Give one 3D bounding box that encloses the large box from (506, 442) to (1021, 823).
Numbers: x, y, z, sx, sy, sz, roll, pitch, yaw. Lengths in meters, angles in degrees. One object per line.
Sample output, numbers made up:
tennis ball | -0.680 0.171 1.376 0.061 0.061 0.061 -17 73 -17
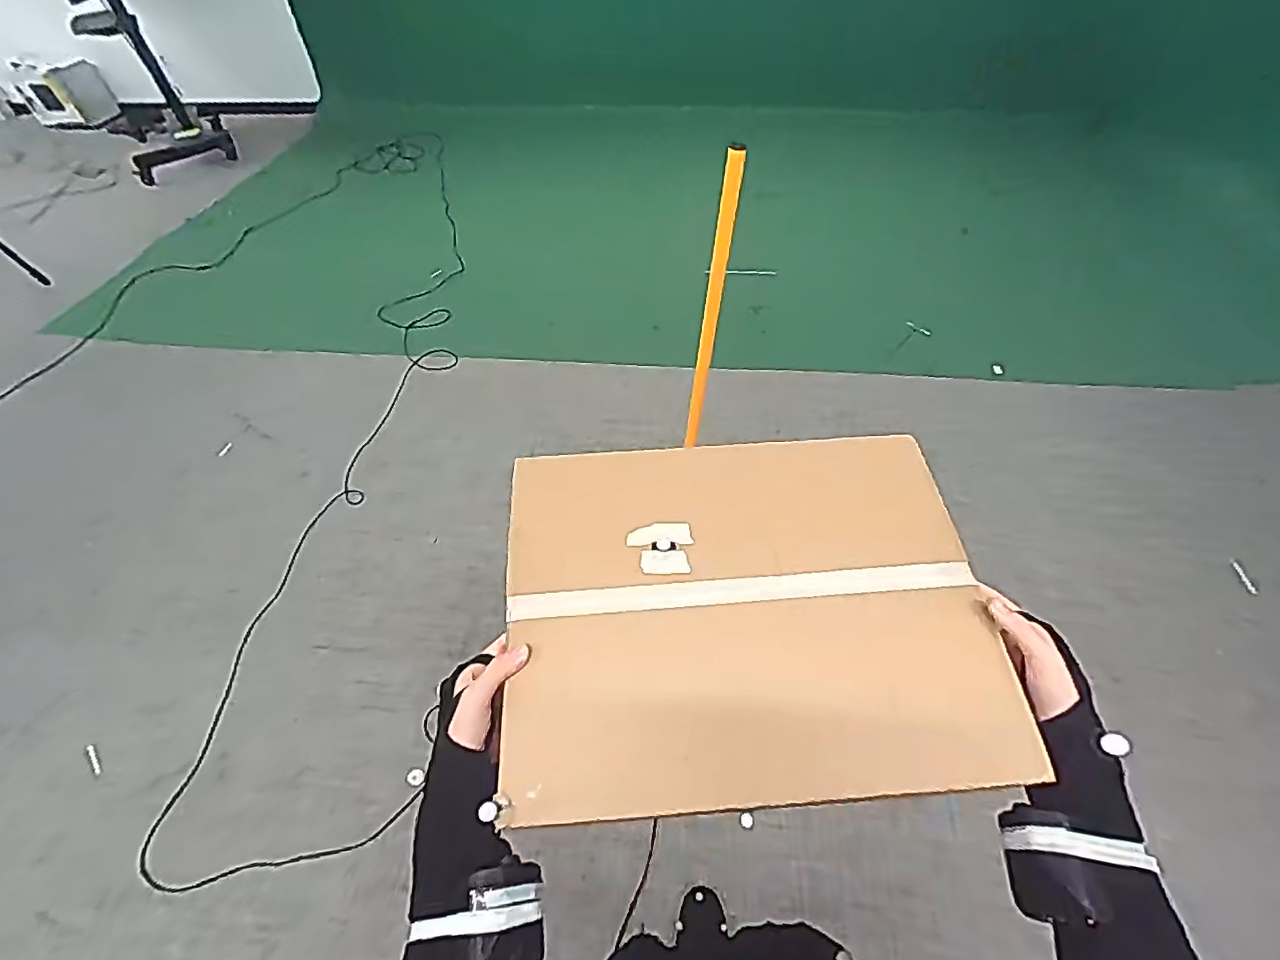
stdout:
large box | 0.089 0.181 0.610 0.408 0.320 0.320 -4 59 -1
